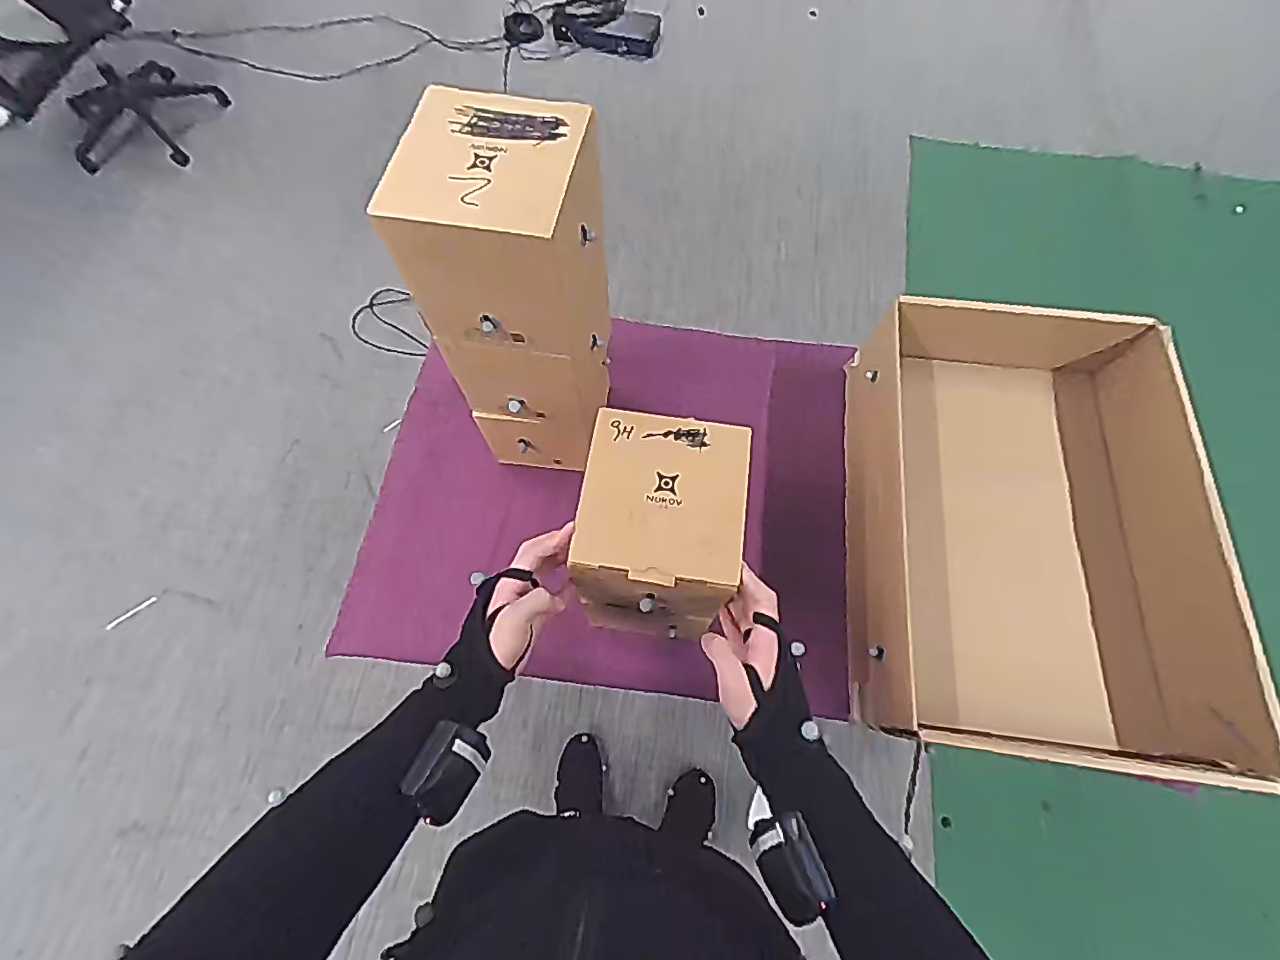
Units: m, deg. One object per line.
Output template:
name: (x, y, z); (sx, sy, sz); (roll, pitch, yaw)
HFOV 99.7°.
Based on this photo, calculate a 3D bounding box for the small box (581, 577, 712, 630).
small box: (0.020, 0.106, 0.762); (0.168, 0.176, 0.179); (8, 66, 3)

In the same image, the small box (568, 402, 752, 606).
small box: (0.024, 0.037, 0.614); (0.168, 0.176, 0.179); (8, 67, 3)

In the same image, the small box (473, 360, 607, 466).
small box: (-0.146, -0.135, 0.866); (0.168, 0.176, 0.179); (6, 67, 3)

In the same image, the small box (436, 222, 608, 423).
small box: (-0.139, -0.201, 0.715); (0.168, 0.176, 0.179); (10, 68, 4)
